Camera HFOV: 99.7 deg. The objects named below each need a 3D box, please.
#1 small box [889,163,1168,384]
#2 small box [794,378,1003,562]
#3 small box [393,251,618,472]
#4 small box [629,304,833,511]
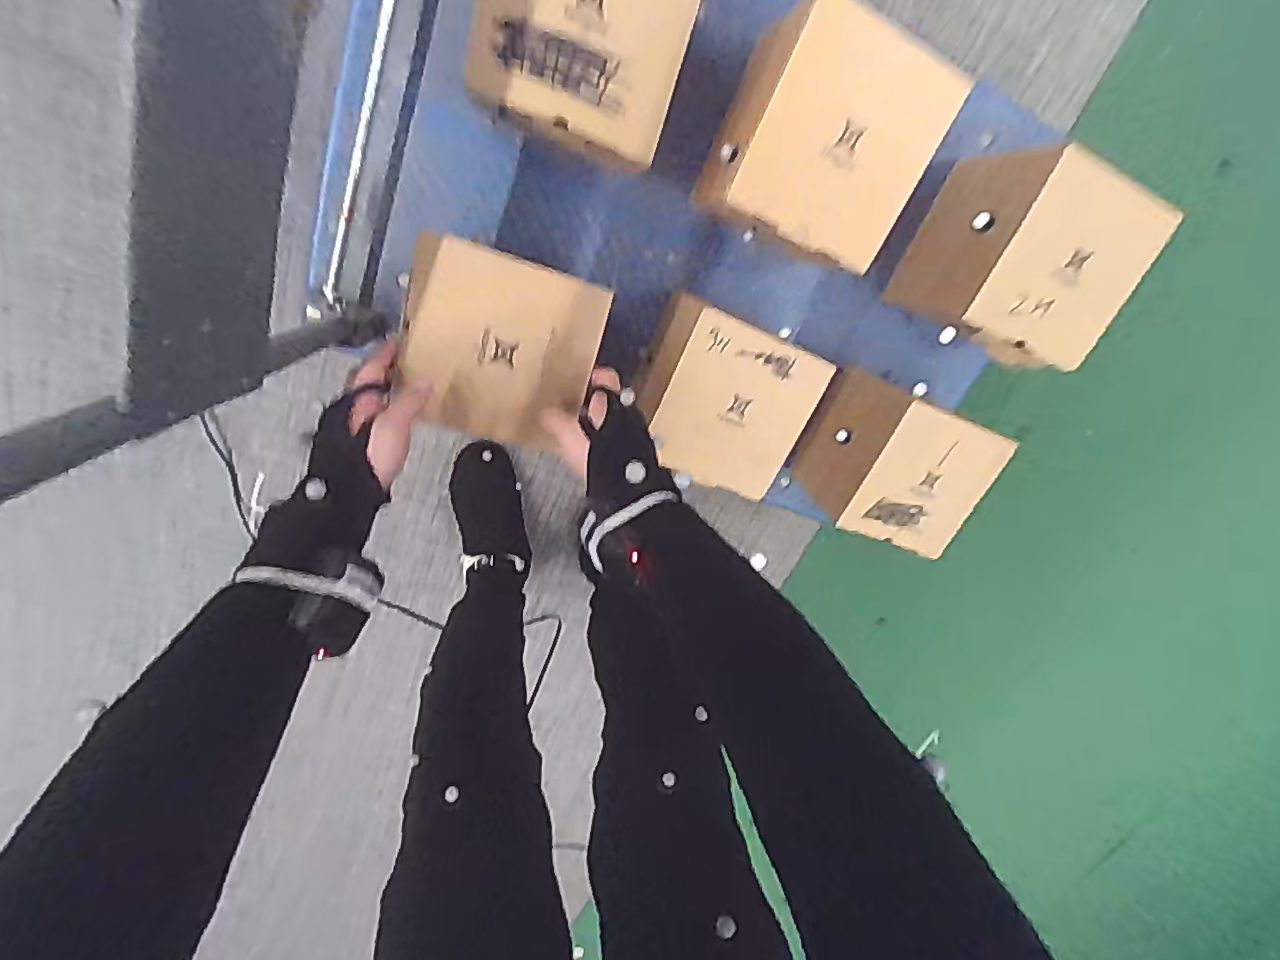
[{"bbox_3d":[0.436,-0.241,0.643,0.168,0.176,0.179,19,111,-14],"label":"small box"},{"bbox_3d":[0.338,-0.020,0.753,0.168,0.176,0.179,18,110,-16],"label":"small box"},{"bbox_3d":[-0.139,-0.125,0.573,0.179,0.176,0.168,13,105,-16],"label":"small box"},{"bbox_3d":[0.095,-0.094,0.666,0.168,0.176,0.179,20,111,-17],"label":"small box"}]
